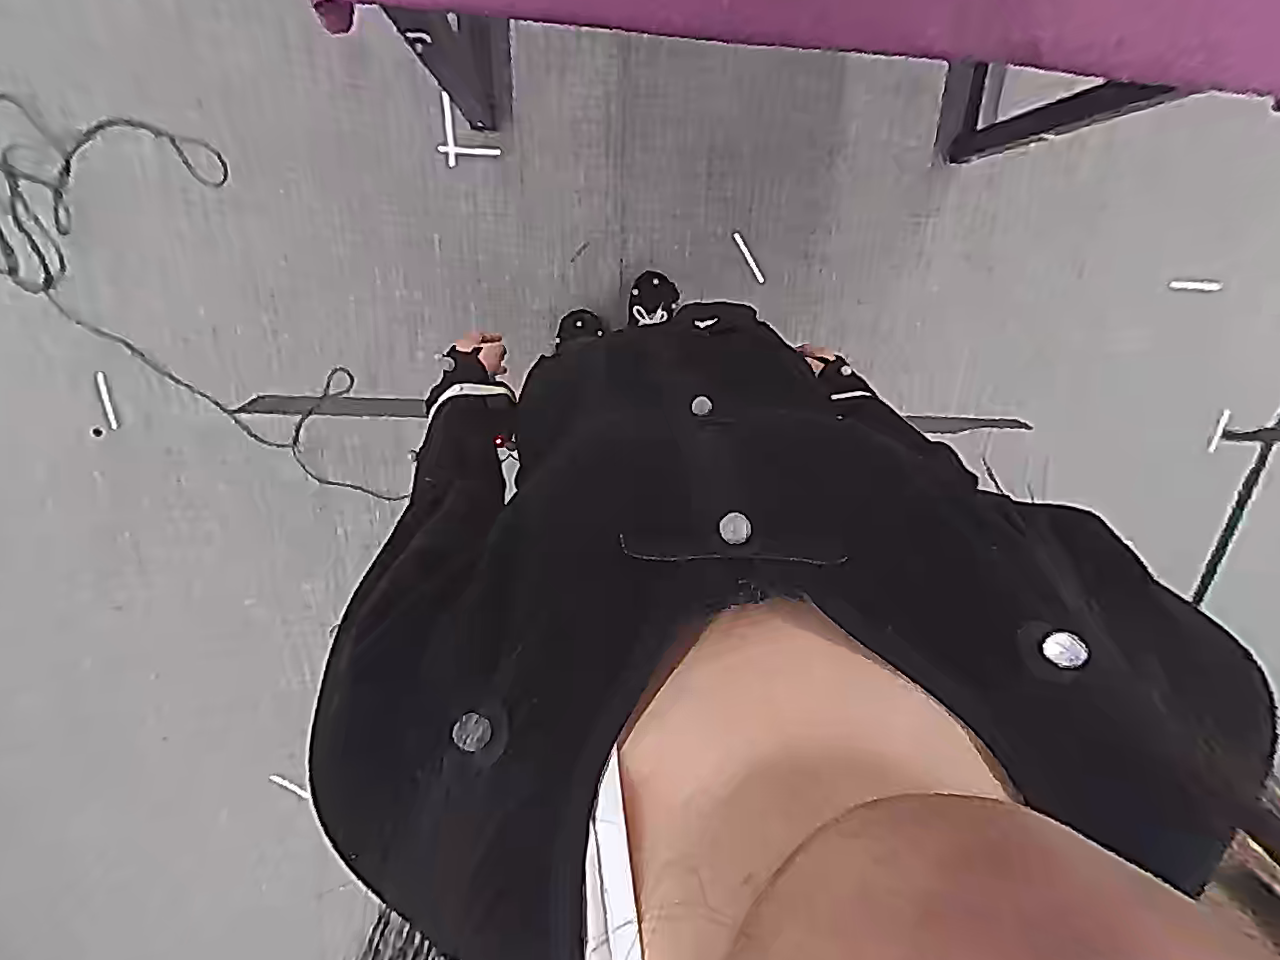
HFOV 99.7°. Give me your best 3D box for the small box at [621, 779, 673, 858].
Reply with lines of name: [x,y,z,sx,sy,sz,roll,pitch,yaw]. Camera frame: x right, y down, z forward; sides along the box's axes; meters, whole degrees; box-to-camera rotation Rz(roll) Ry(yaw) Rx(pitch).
small box: [0.022,1.179,1.900,0.168,0.176,0.179,-3,111,-4]
